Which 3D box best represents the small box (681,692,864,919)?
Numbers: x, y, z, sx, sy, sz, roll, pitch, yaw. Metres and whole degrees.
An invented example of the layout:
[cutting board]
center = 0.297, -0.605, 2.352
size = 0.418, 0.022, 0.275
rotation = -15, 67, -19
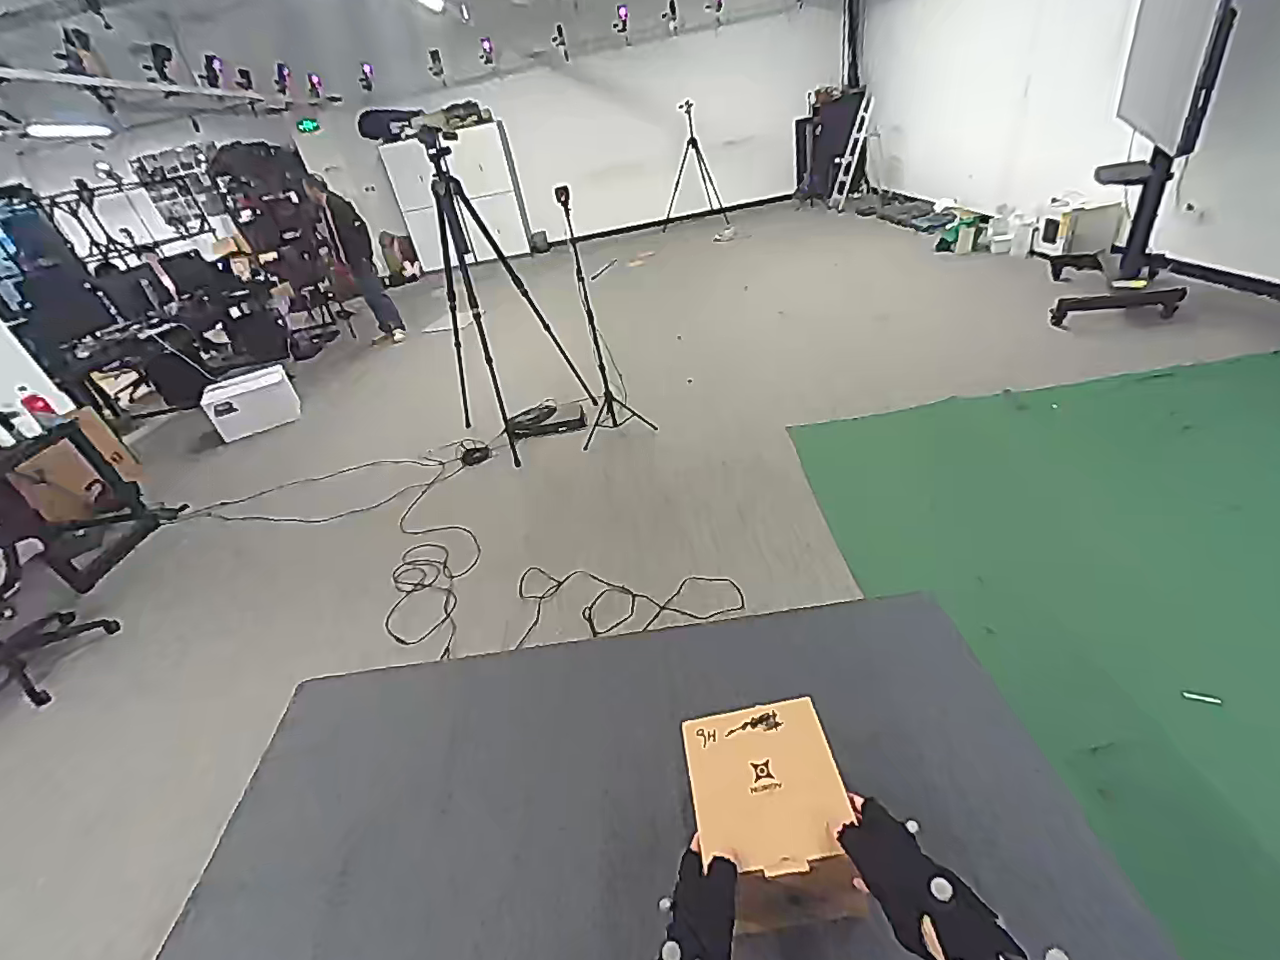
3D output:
[small box]
center = 0.153, 0.388, 0.642
size = 0.168, 0.176, 0.179
rotation = -13, 35, 4
